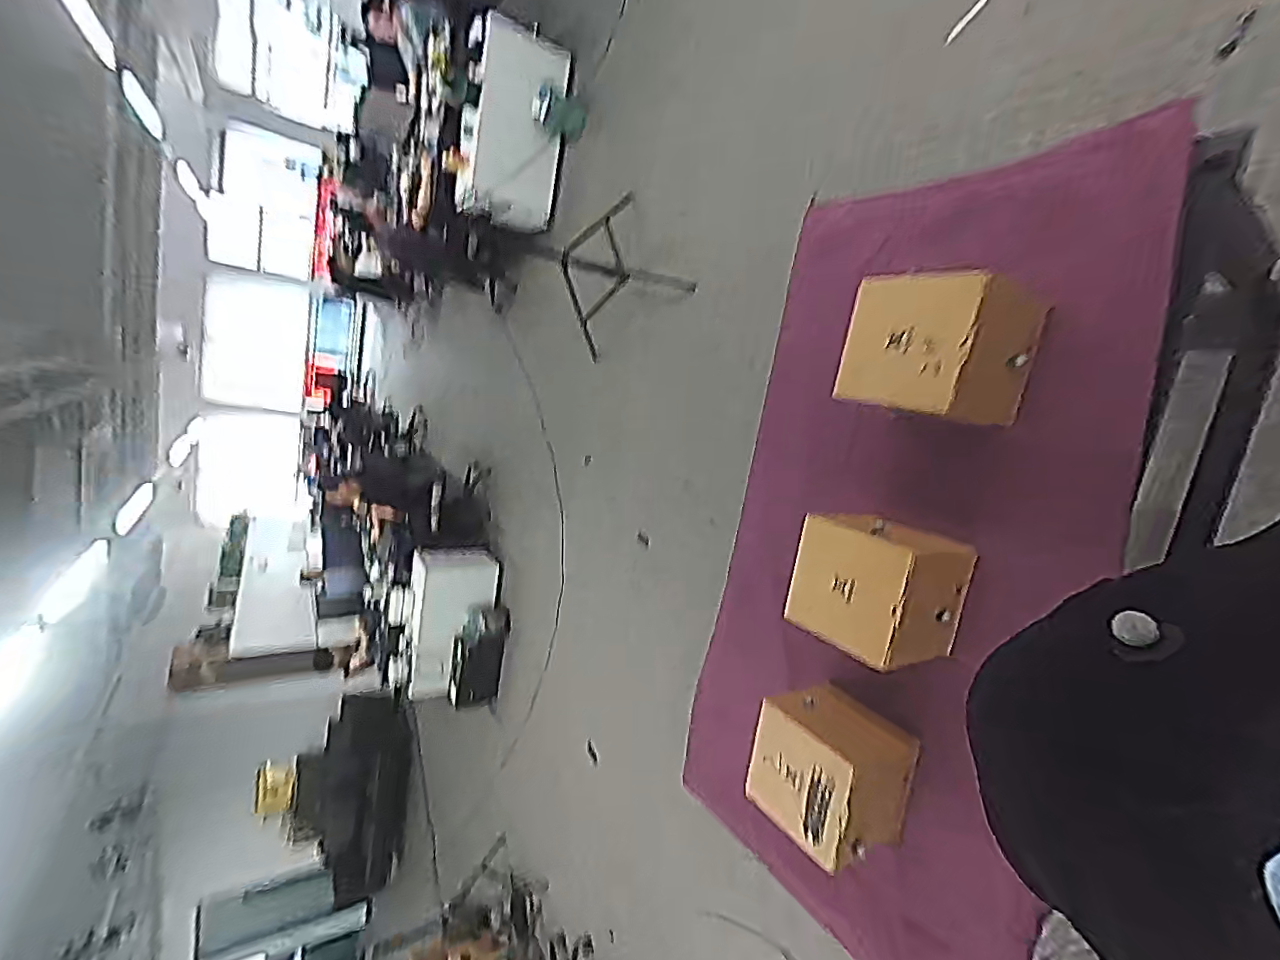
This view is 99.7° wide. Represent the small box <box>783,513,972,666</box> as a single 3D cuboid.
[{"bbox_3d":[0.350,0.153,0.805,0.179,0.176,0.168,22,105,54],"label":"small box"}]

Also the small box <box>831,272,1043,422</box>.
[{"bbox_3d":[0.404,-0.178,0.748,0.179,0.176,0.168,26,109,55],"label":"small box"}]
